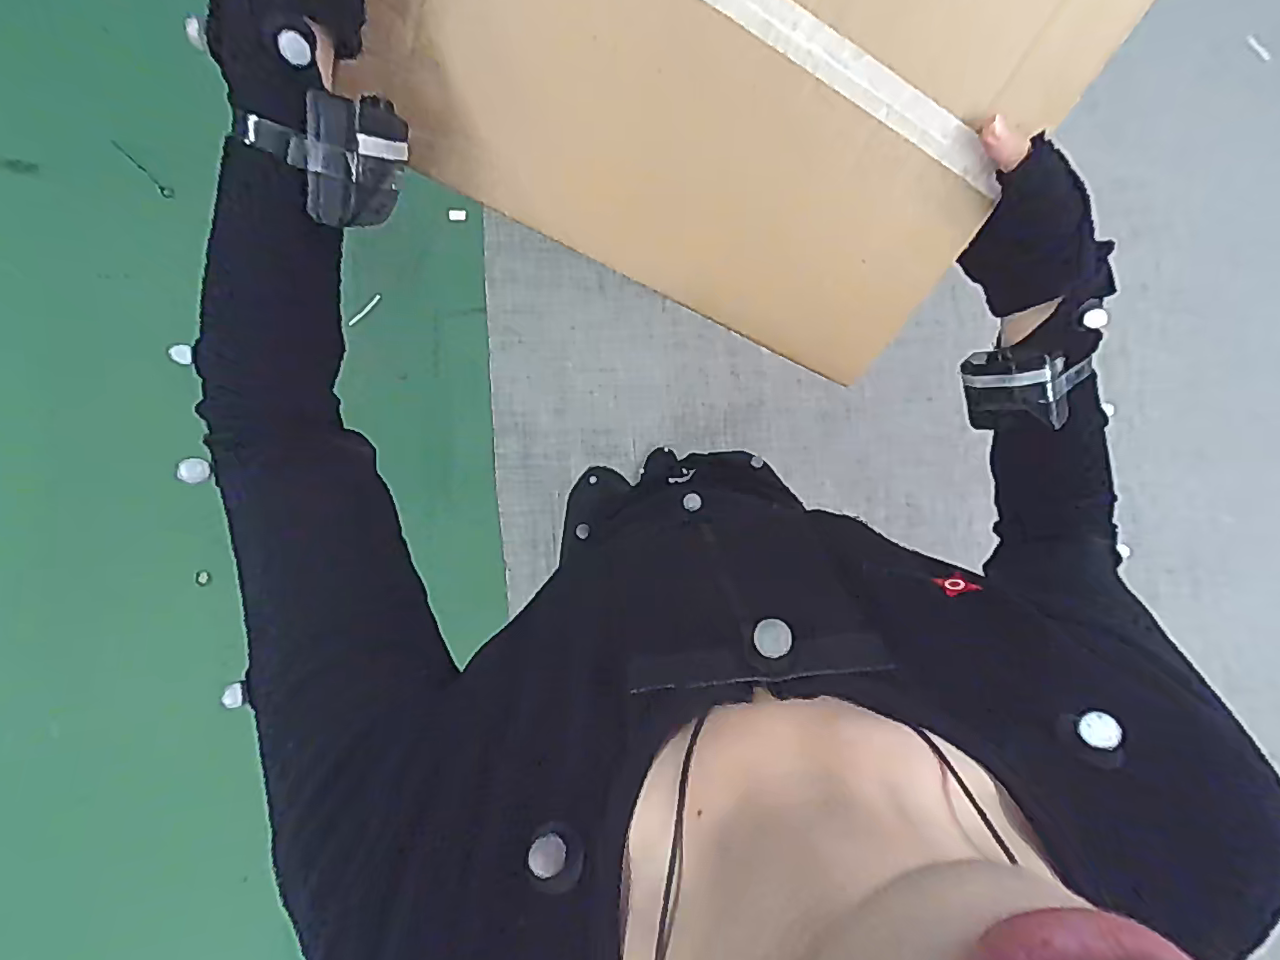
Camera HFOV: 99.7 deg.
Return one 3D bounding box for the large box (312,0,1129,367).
[{"bbox_3d":[0.049,-0.353,0.414,0.408,0.320,0.320,23,122,-15],"label":"large box"}]
